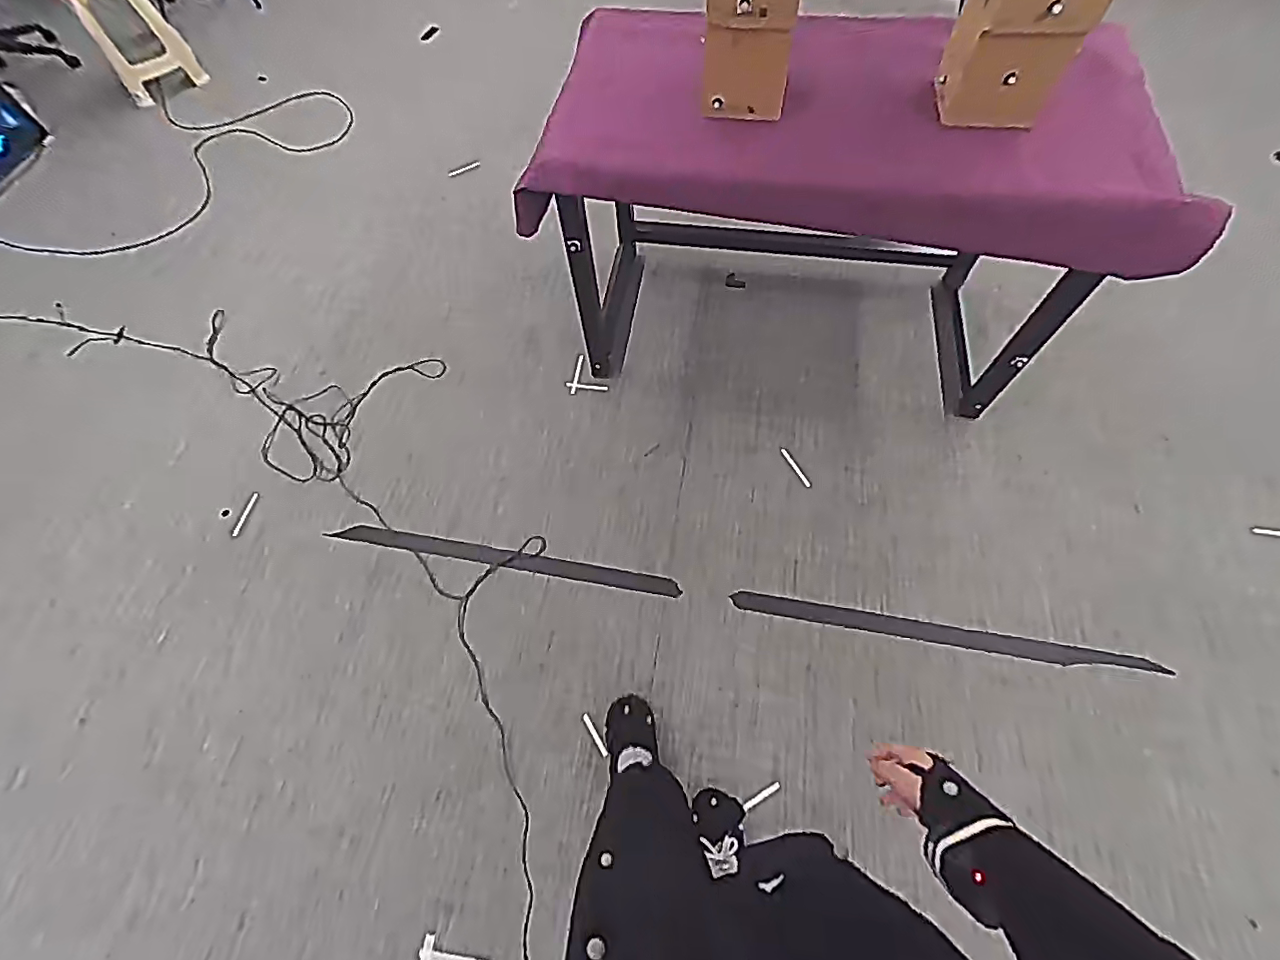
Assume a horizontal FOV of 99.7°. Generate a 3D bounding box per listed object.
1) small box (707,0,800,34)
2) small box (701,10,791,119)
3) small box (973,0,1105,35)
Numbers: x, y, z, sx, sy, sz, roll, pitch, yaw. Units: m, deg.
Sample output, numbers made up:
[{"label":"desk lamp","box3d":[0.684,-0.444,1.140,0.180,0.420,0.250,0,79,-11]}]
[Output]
[{"label":"small box","box3d":[0.209,-0.928,0.948,0.168,0.176,0.179,7,65,7]},{"label":"small box","box3d":[0.217,-0.868,1.099,0.168,0.176,0.179,8,64,7]},{"label":"small box","box3d":[0.686,-0.872,0.892,0.179,0.176,0.168,3,64,5]}]
